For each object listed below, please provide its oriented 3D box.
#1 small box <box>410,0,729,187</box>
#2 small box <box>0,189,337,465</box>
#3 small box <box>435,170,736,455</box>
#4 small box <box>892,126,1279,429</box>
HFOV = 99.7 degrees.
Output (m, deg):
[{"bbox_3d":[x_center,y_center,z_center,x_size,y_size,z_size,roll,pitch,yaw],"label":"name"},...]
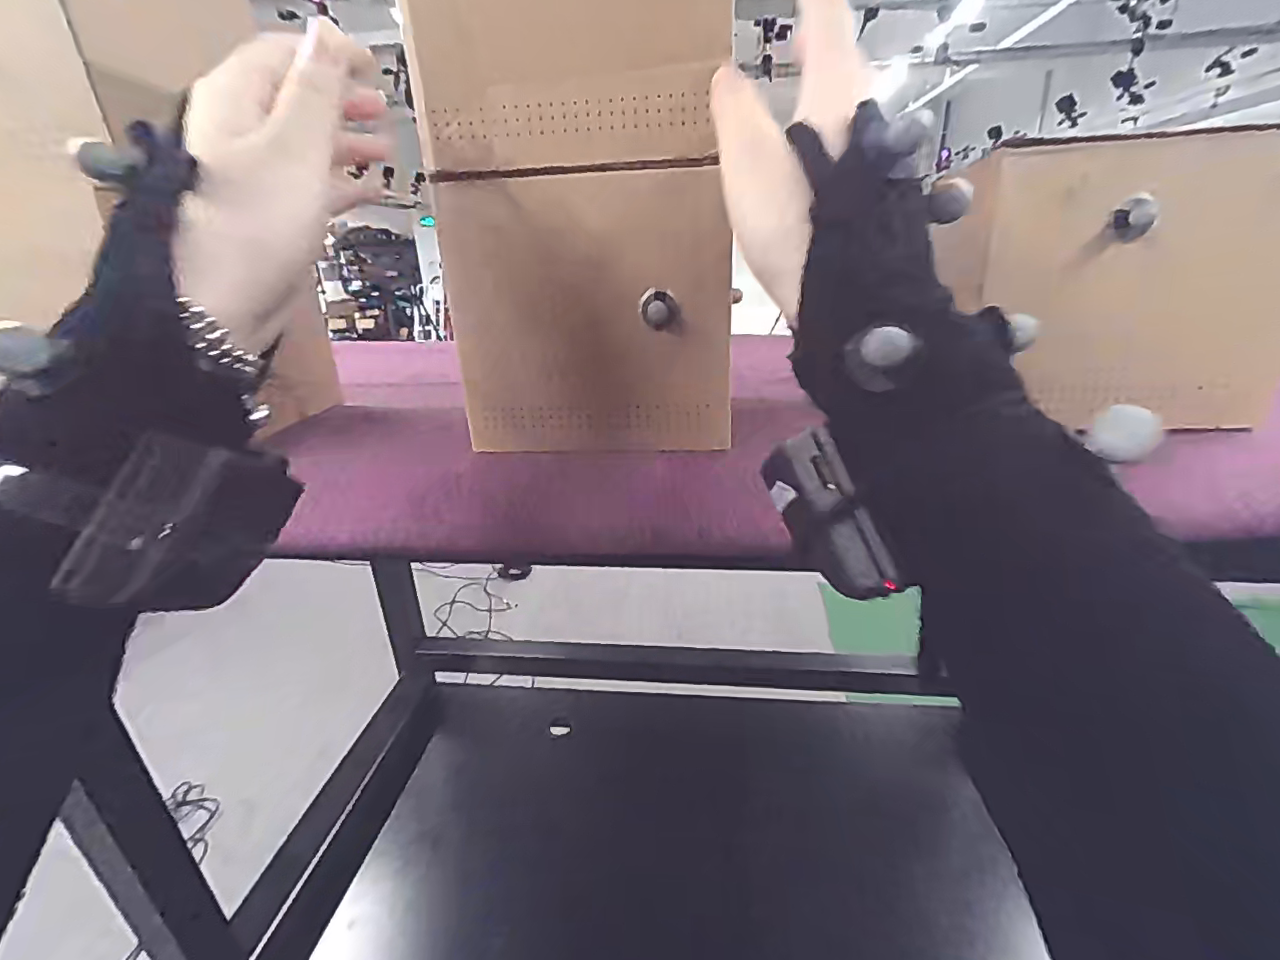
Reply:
[{"bbox_3d":[-0.036,-0.275,0.351,0.179,0.176,0.168,-1,21,3],"label":"small box"},{"bbox_3d":[-0.366,-0.116,0.413,0.168,0.176,0.179,0,22,4],"label":"small box"},{"bbox_3d":[-0.024,-0.123,0.409,0.179,0.176,0.168,-1,21,5],"label":"small box"},{"bbox_3d":[0.299,-0.135,0.399,0.179,0.176,0.168,1,20,8],"label":"small box"}]
